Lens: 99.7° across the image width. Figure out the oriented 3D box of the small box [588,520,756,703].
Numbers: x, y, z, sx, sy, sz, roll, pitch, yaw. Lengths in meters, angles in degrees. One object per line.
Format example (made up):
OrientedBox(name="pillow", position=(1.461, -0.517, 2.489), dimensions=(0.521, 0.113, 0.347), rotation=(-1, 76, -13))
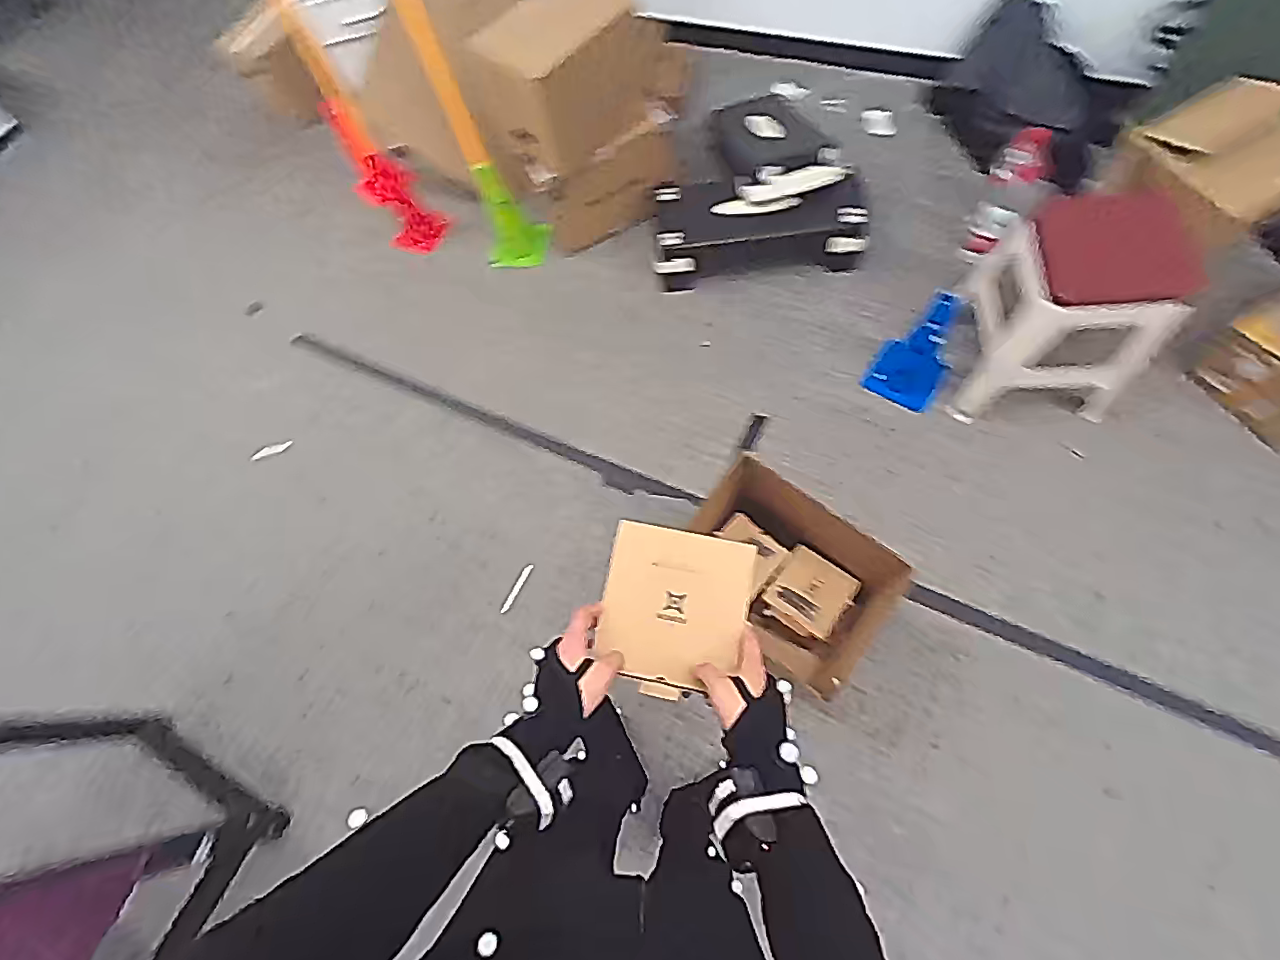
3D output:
OrientedBox(name="small box", position=(0.041, 0.165, 0.687), dimensions=(0.168, 0.176, 0.179), rotation=(11, 75, 4))
